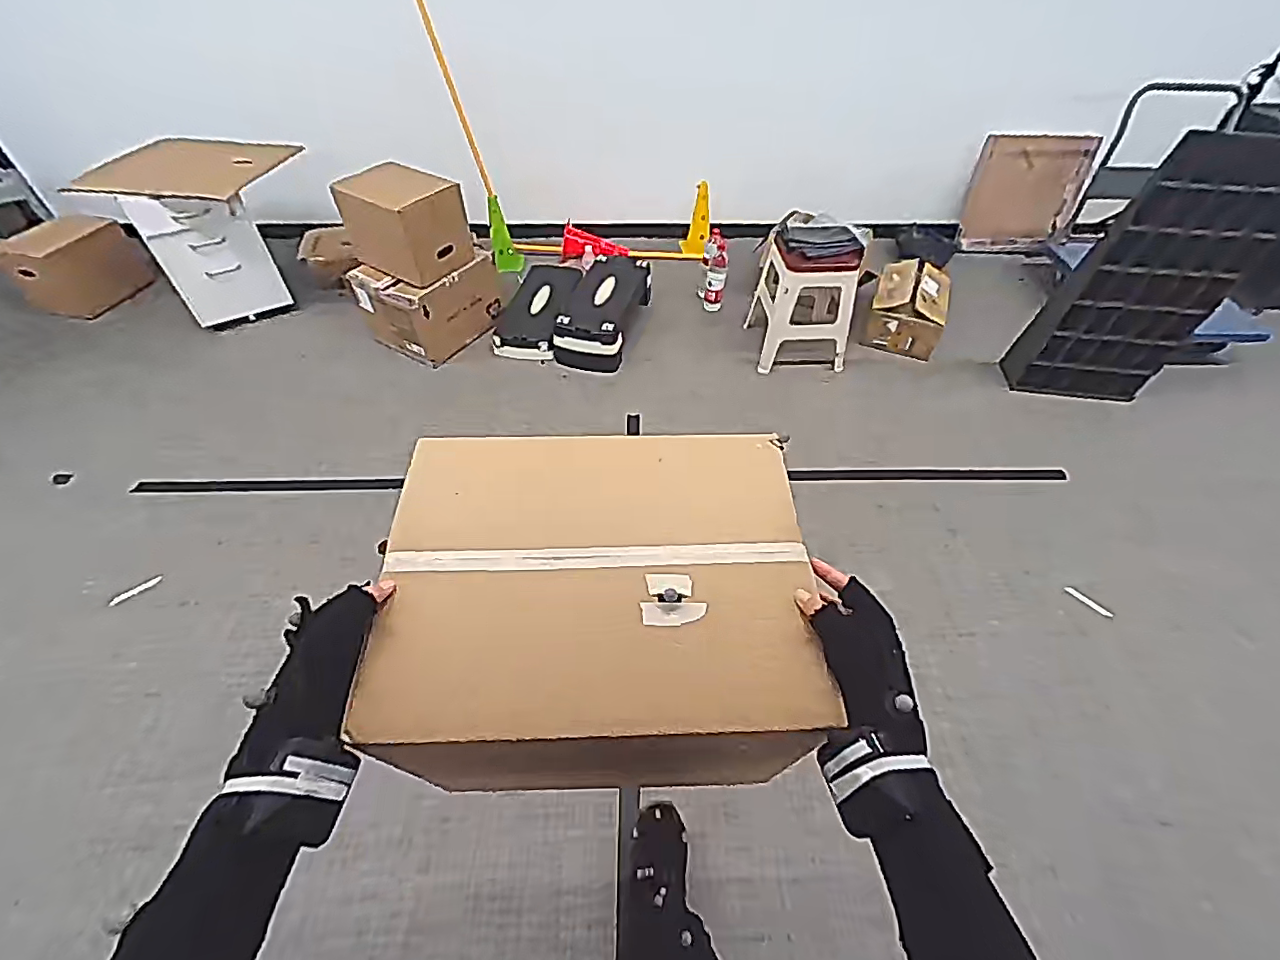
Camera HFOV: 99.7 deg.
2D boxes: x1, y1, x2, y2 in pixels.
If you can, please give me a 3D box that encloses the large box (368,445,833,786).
[{"bbox_3d":[-0.041,0.172,0.662,0.408,0.320,0.320,0,54,-2],"label":"large box"}]
